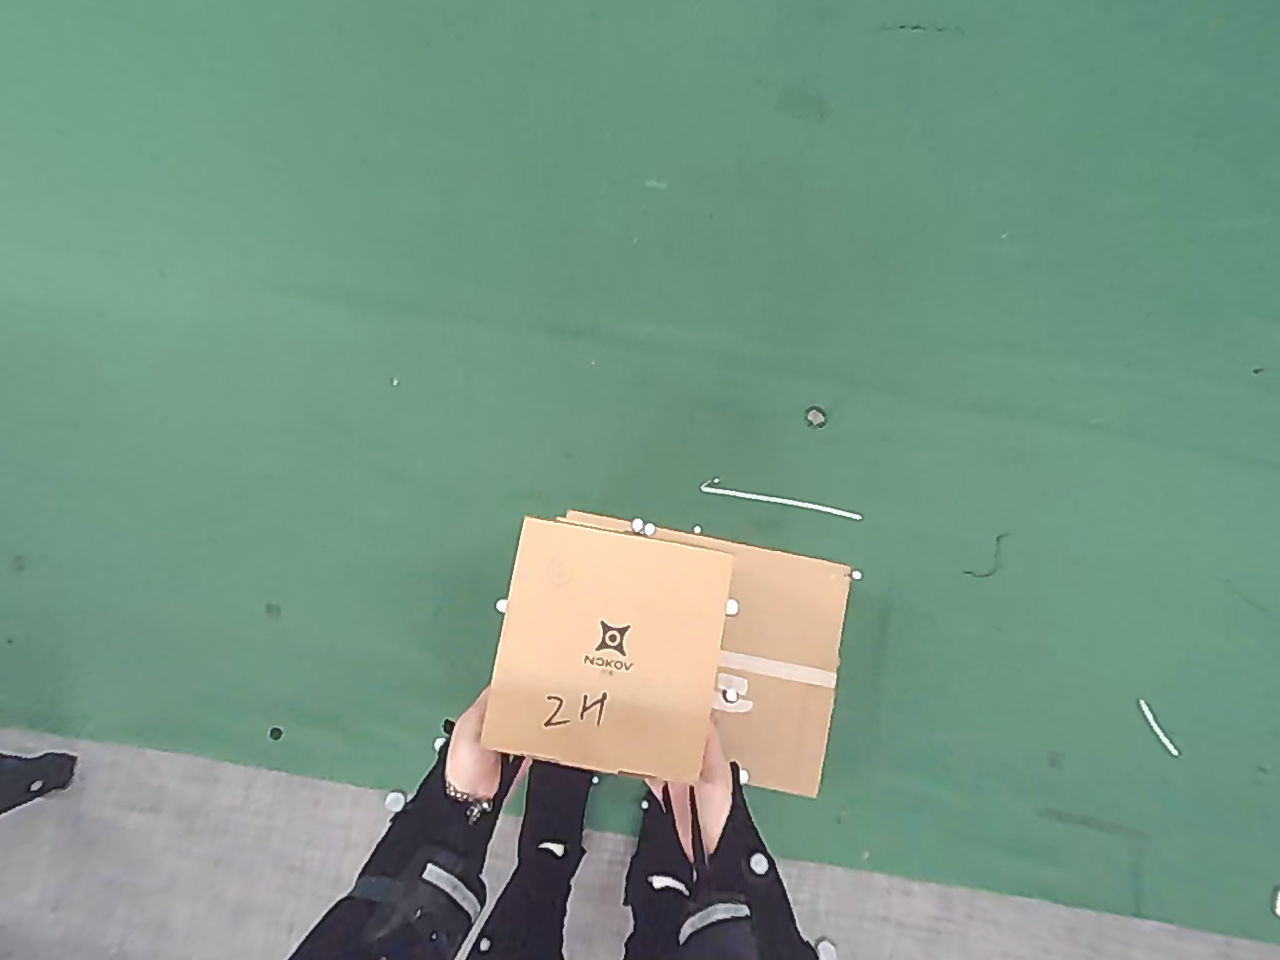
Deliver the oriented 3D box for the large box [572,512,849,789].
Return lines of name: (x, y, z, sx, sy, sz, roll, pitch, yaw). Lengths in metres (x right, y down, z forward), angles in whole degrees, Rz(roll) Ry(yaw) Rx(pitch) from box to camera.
large box: (0.064, 0.242, 0.876, 0.408, 0.320, 0.320, 11, 85, 0)

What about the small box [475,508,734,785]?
small box: (-0.026, 0.130, 0.477, 0.168, 0.176, 0.179, 10, 83, 1)
